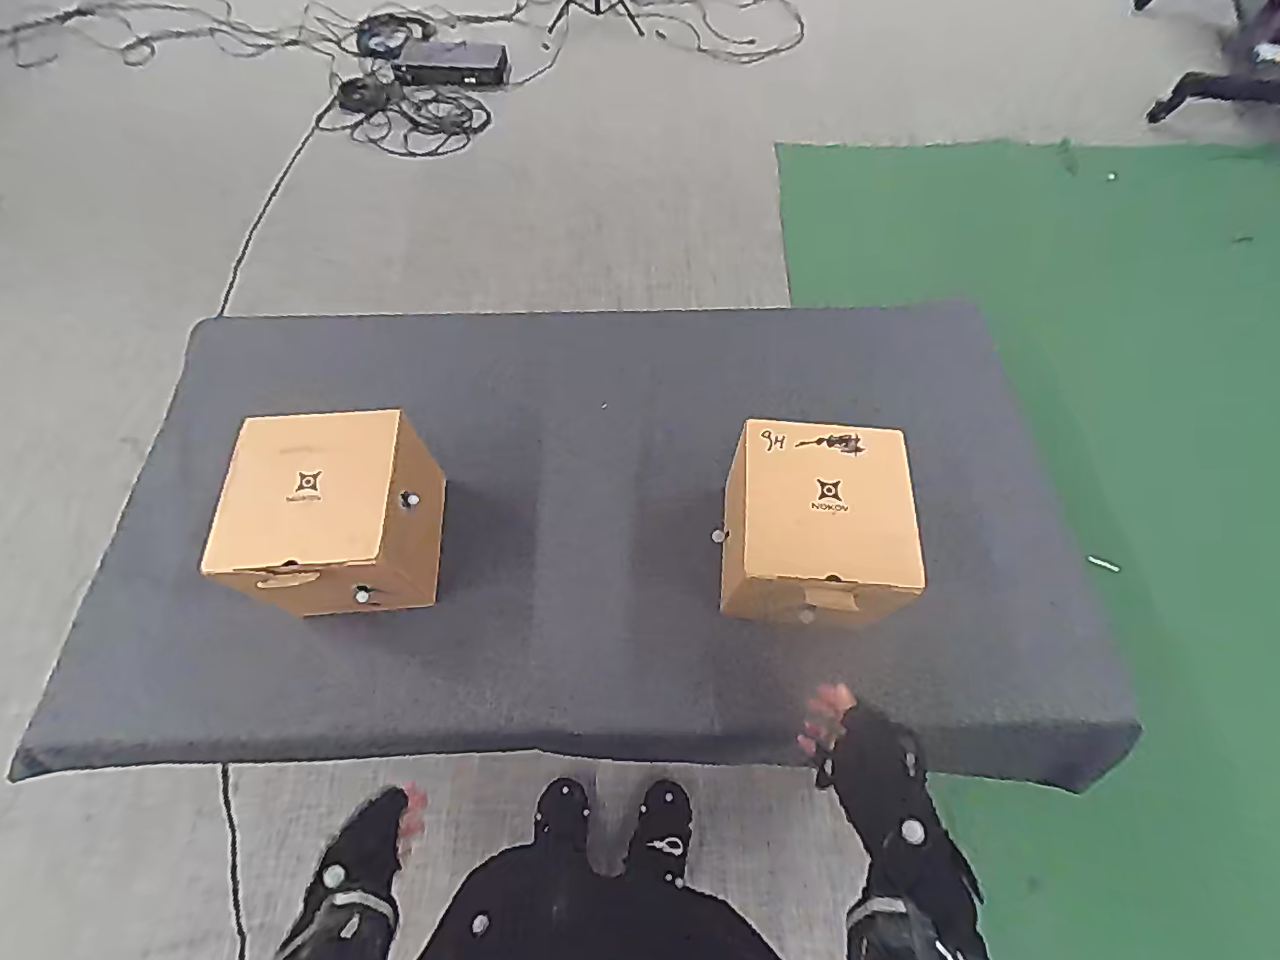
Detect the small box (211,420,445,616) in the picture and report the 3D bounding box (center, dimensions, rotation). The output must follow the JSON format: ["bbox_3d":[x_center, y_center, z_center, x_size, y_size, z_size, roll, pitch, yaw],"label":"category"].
[{"bbox_3d":[-0.336,0.053,0.626,0.168,0.176,0.179,-5,62,-3],"label":"small box"}]

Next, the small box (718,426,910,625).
[{"bbox_3d":[0.181,0.059,0.613,0.168,0.176,0.179,4,64,3],"label":"small box"}]
